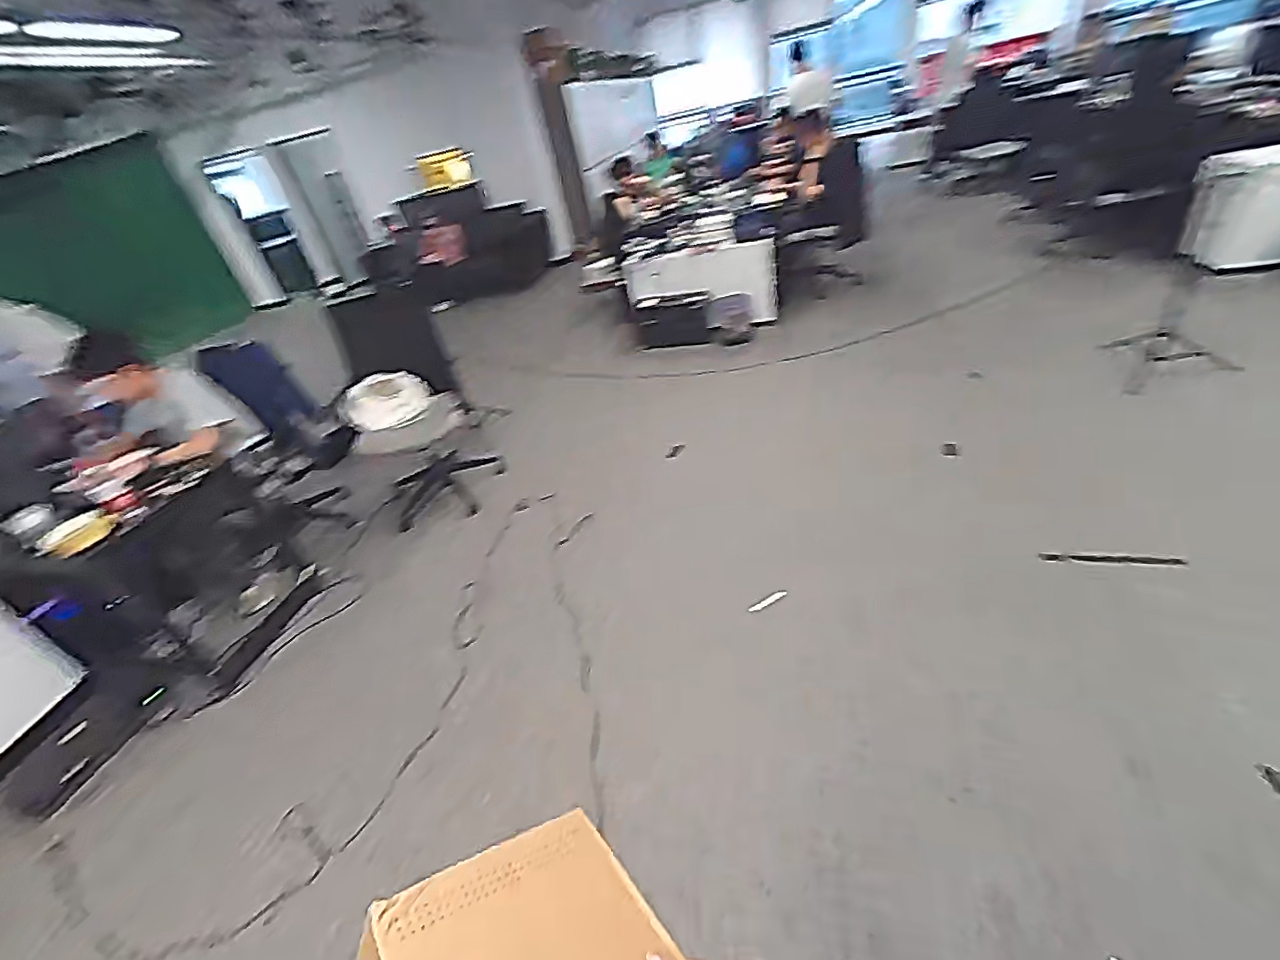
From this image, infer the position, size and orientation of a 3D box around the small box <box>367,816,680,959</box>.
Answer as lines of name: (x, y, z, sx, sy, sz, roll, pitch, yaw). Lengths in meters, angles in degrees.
small box: (-0.081, 0.382, 0.378, 0.179, 0.168, 0.176, 4, 17, -41)
